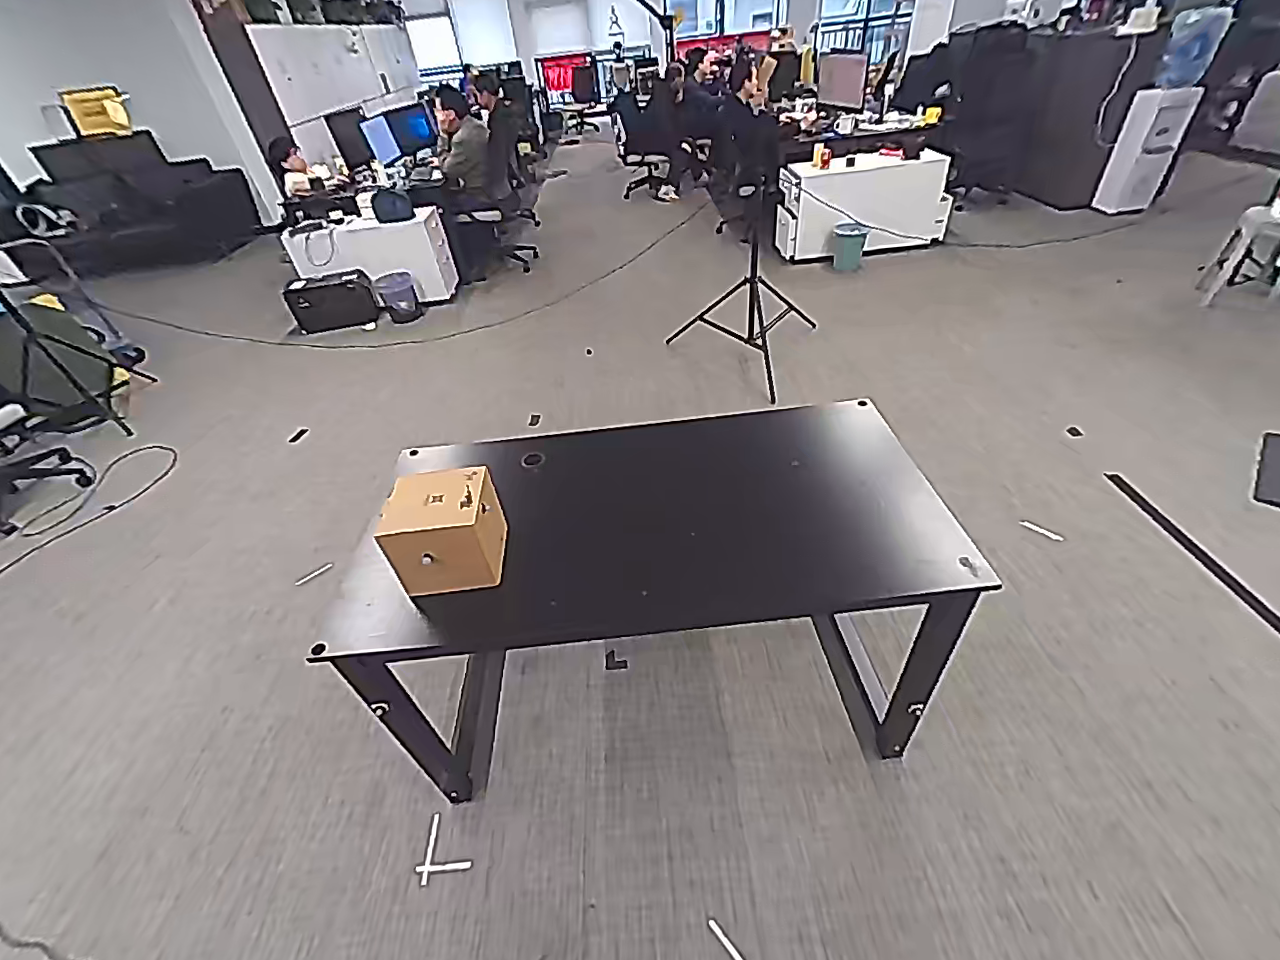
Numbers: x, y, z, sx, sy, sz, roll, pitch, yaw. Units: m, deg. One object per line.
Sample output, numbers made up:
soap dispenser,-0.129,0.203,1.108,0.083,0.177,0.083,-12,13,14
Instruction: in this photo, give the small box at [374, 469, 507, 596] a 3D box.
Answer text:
small box,-0.369,0.104,1.038,0.179,0.176,0.168,-8,40,0
